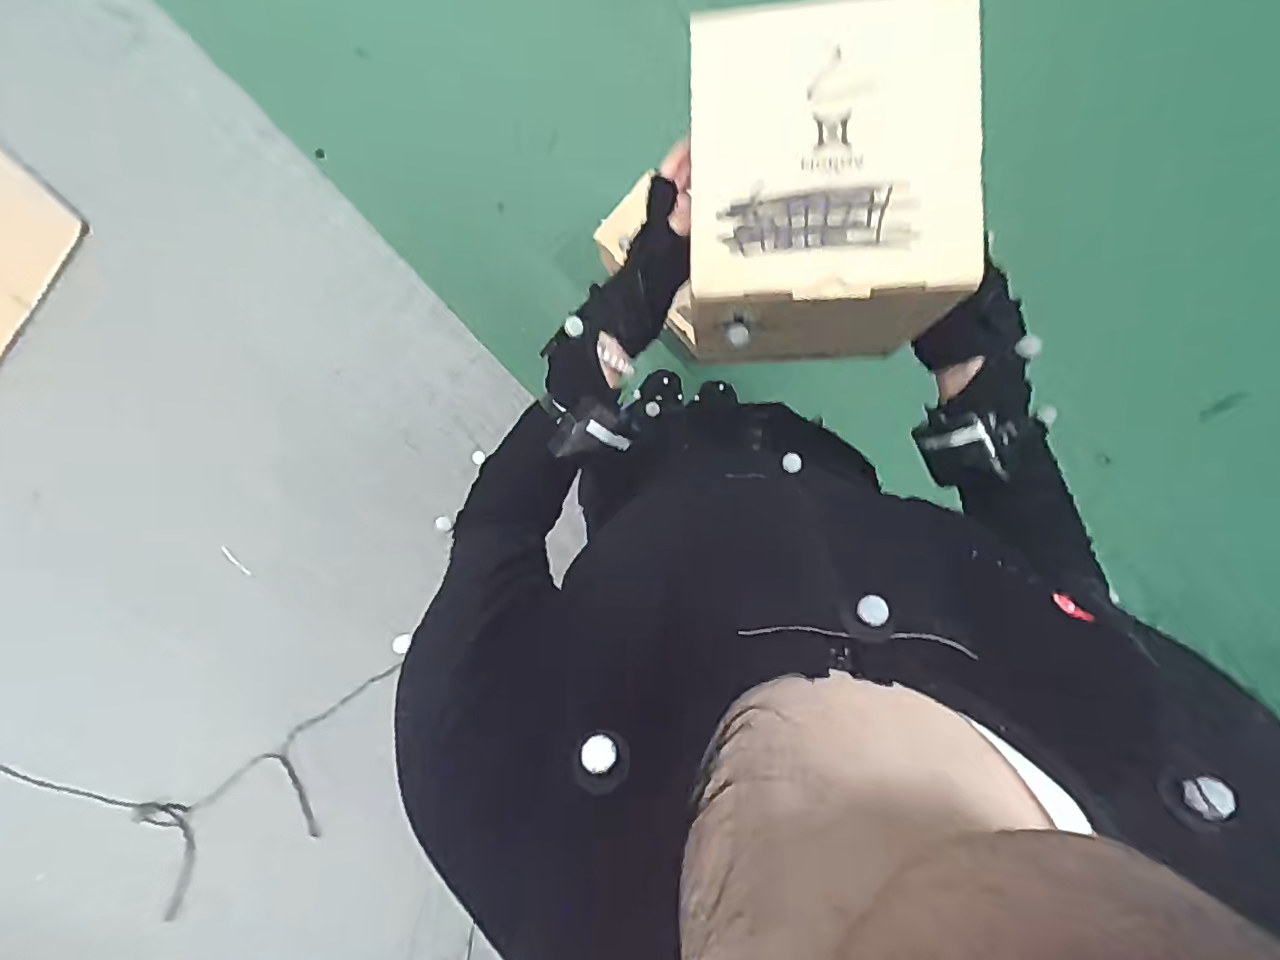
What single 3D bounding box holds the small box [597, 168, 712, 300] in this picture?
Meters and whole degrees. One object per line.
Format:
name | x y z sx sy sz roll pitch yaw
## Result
small box | 0.029 -0.513 1.158 0.168 0.176 0.179 43 99 -6
